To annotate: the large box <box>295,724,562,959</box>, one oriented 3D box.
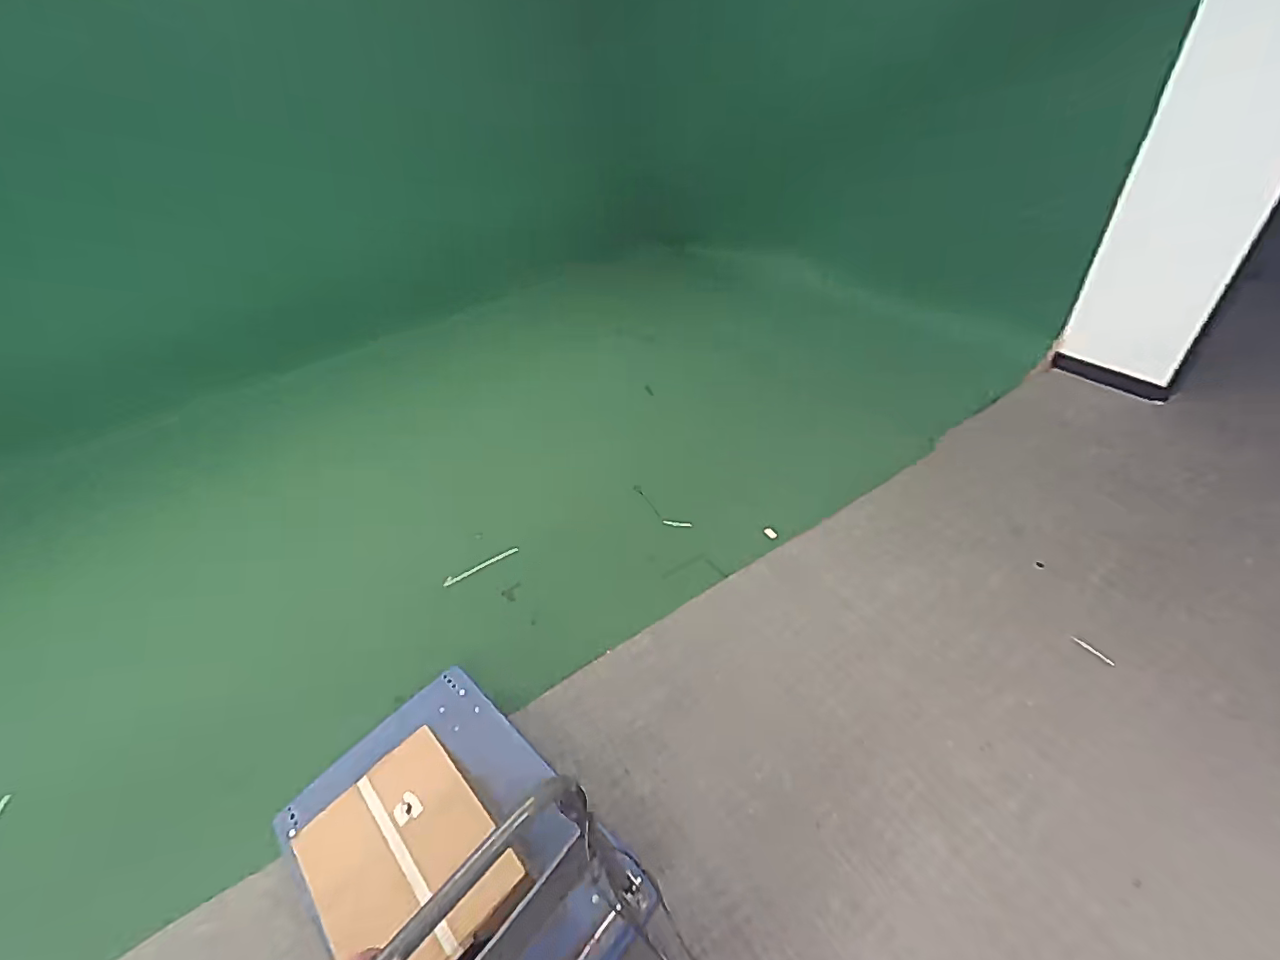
[{"bbox_3d":[-0.431,0.823,1.142,0.320,0.320,0.408,-37,48,-27],"label":"large box"}]
